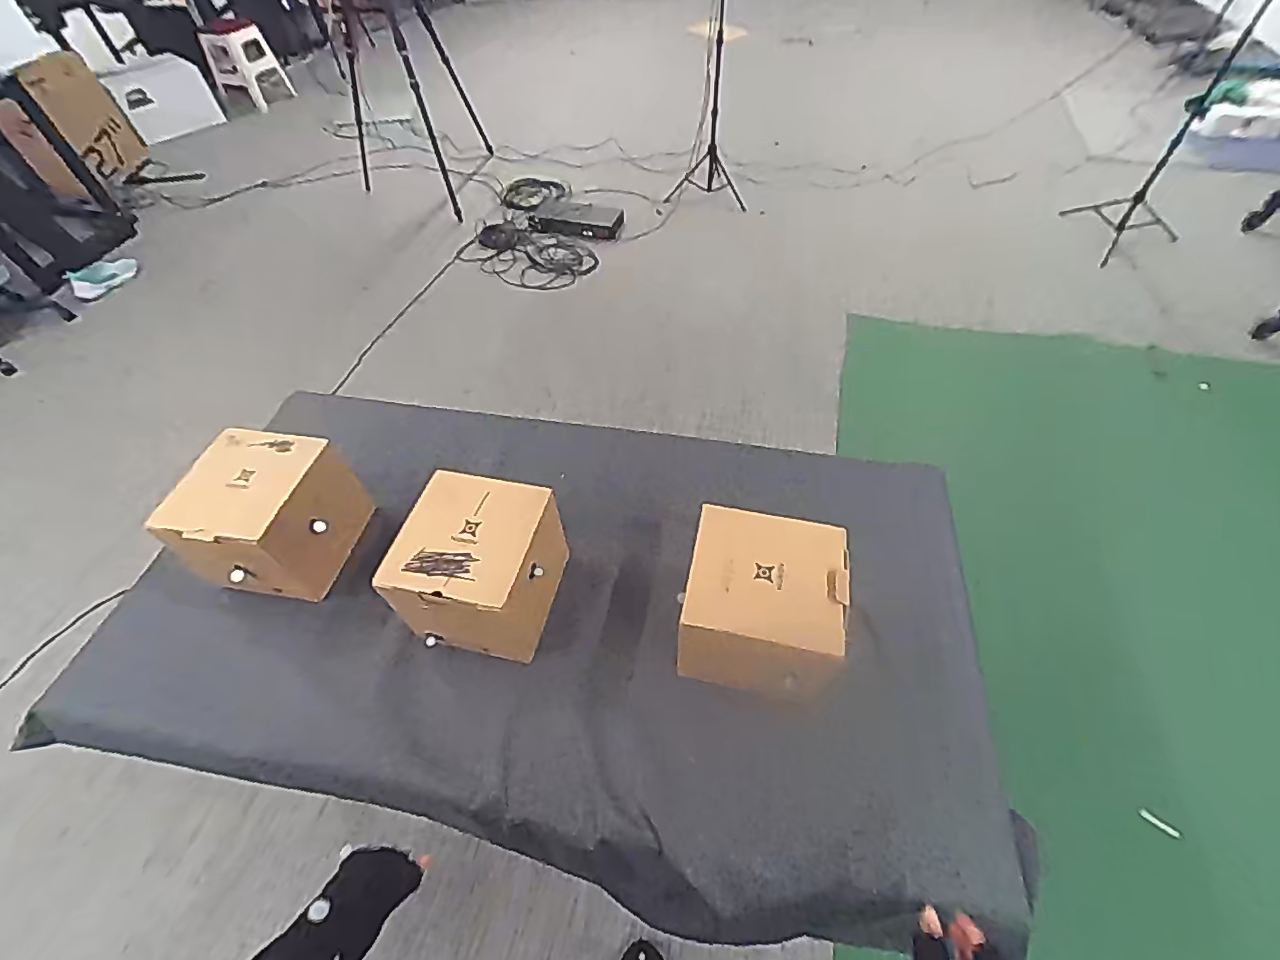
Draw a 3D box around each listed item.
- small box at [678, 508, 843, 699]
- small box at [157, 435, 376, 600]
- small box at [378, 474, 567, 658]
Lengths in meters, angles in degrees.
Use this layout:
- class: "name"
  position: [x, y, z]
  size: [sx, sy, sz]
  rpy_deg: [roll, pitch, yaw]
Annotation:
- class: "small box"
  position: [0.148, 0.160, 0.685]
  size: [0.179, 0.176, 0.168]
  rpy_deg: [8, 51, 11]
- class: "small box"
  position: [-0.526, 0.059, 0.798]
  size: [0.168, 0.176, 0.179]
  rpy_deg: [7, 53, 8]
- class: "small box"
  position: [-0.207, 0.120, 0.733]
  size: [0.168, 0.176, 0.179]
  rpy_deg: [9, 52, 10]
